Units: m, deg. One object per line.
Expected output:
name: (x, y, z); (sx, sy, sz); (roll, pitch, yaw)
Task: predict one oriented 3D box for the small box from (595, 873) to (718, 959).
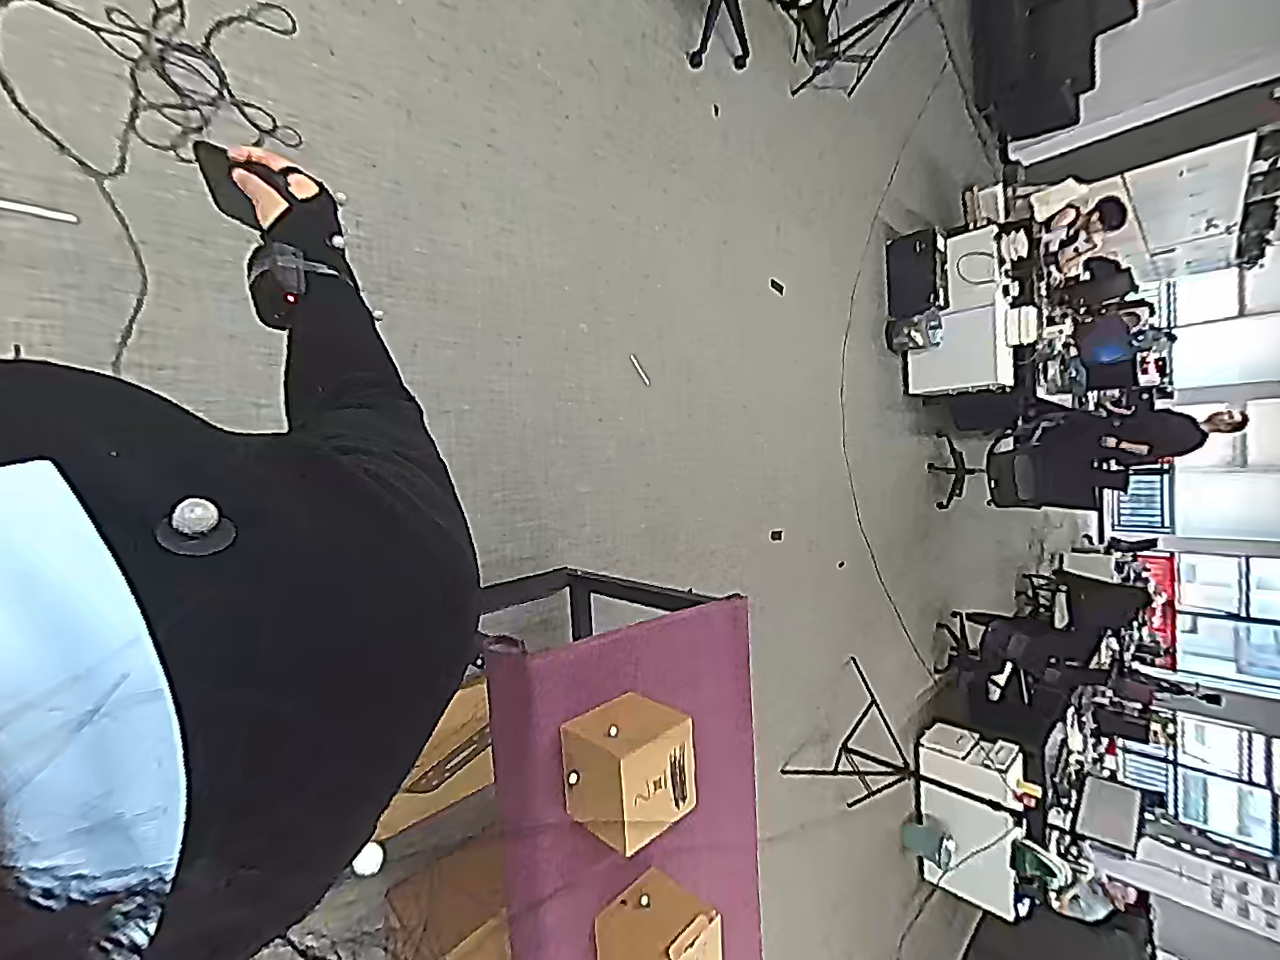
small box: (0.031, 0.905, 1.022); (0.168, 0.176, 0.179); (-7, 95, -46)
